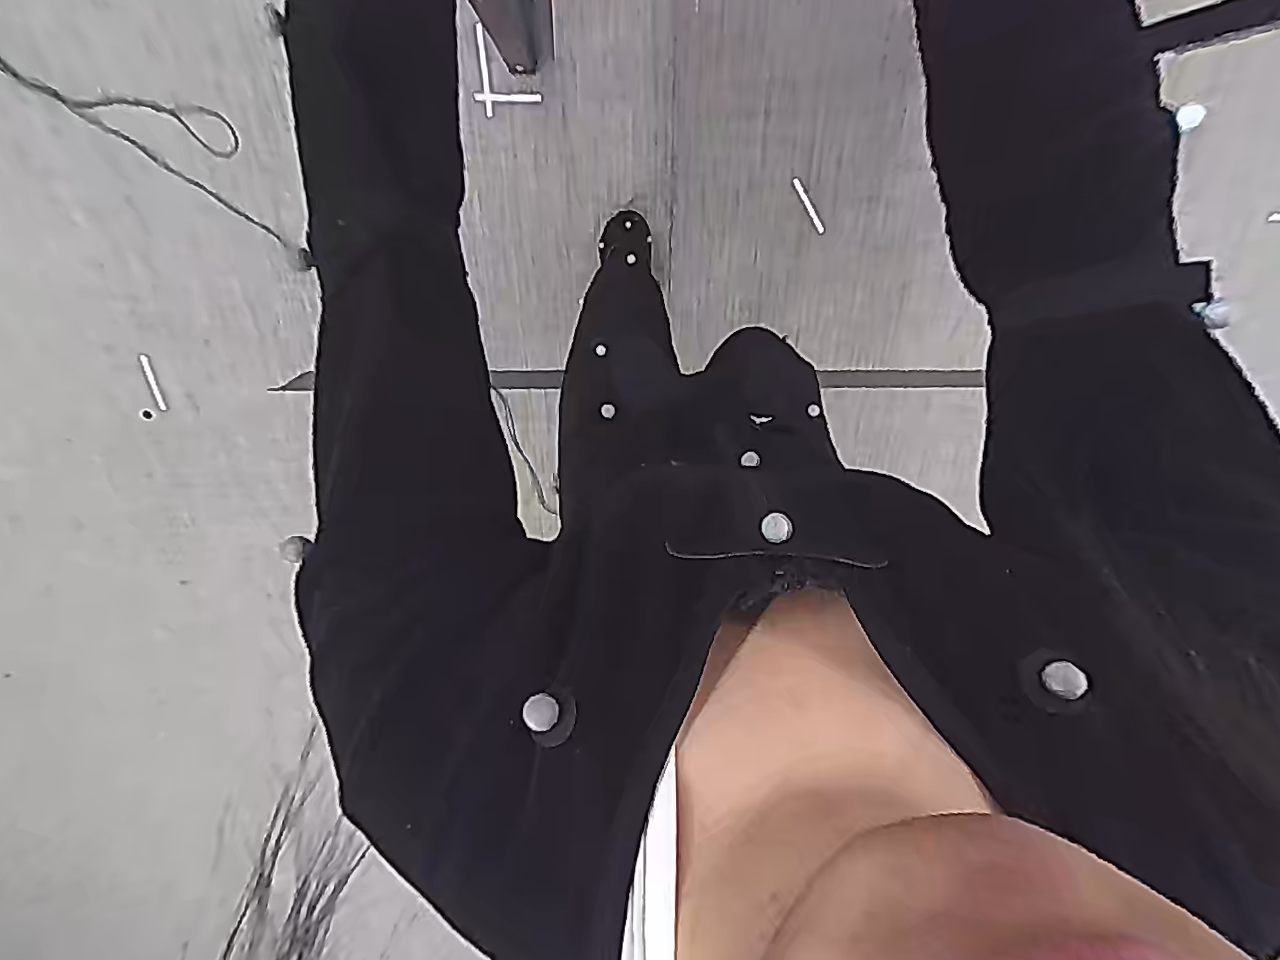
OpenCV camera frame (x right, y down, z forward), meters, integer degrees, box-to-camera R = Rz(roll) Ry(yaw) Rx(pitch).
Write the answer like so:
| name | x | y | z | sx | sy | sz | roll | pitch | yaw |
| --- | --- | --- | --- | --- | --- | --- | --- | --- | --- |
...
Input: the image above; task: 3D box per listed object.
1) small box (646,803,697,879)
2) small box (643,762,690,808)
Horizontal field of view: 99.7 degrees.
| name | x | y | z | sx | sy | sz | roll | pitch | yaw |
| --- | --- | --- | --- | --- | --- | --- | --- | --- | --- |
| small box | 0.112 | 1.302 | 1.962 | 0.168 | 0.176 | 0.179 | -5 | 118 | -3 |
| small box | 0.103 | 1.227 | 2.109 | 0.168 | 0.176 | 0.179 | -6 | 119 | -2 |
